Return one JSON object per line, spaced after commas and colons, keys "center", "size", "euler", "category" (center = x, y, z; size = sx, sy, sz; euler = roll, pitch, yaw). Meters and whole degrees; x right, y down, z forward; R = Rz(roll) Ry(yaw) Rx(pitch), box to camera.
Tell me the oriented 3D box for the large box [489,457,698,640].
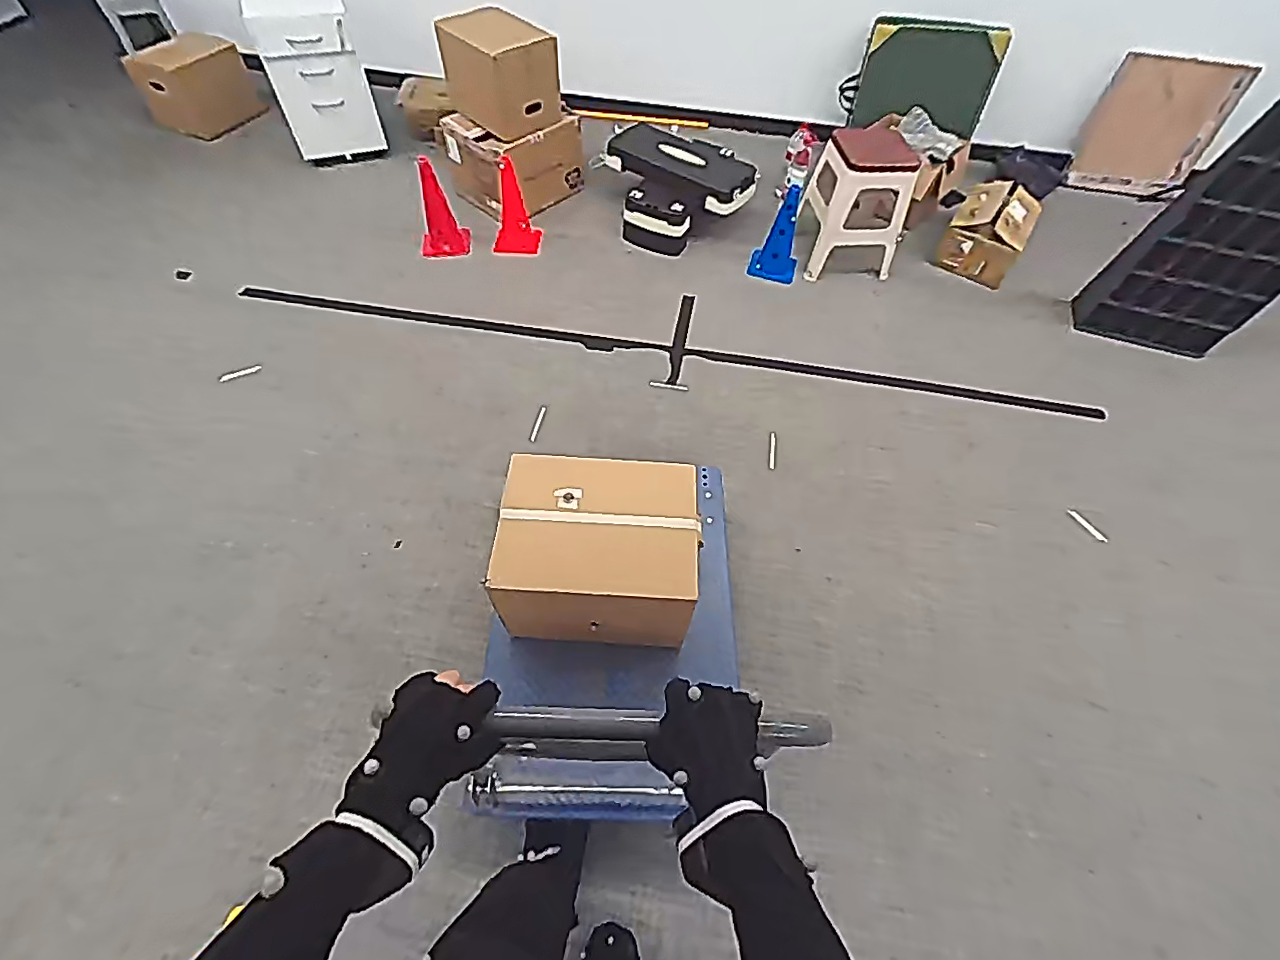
{"center": [-0.085, 0.166, 1.230], "size": [0.408, 0.320, 0.320], "euler": [4, 57, 0], "category": "large box"}
